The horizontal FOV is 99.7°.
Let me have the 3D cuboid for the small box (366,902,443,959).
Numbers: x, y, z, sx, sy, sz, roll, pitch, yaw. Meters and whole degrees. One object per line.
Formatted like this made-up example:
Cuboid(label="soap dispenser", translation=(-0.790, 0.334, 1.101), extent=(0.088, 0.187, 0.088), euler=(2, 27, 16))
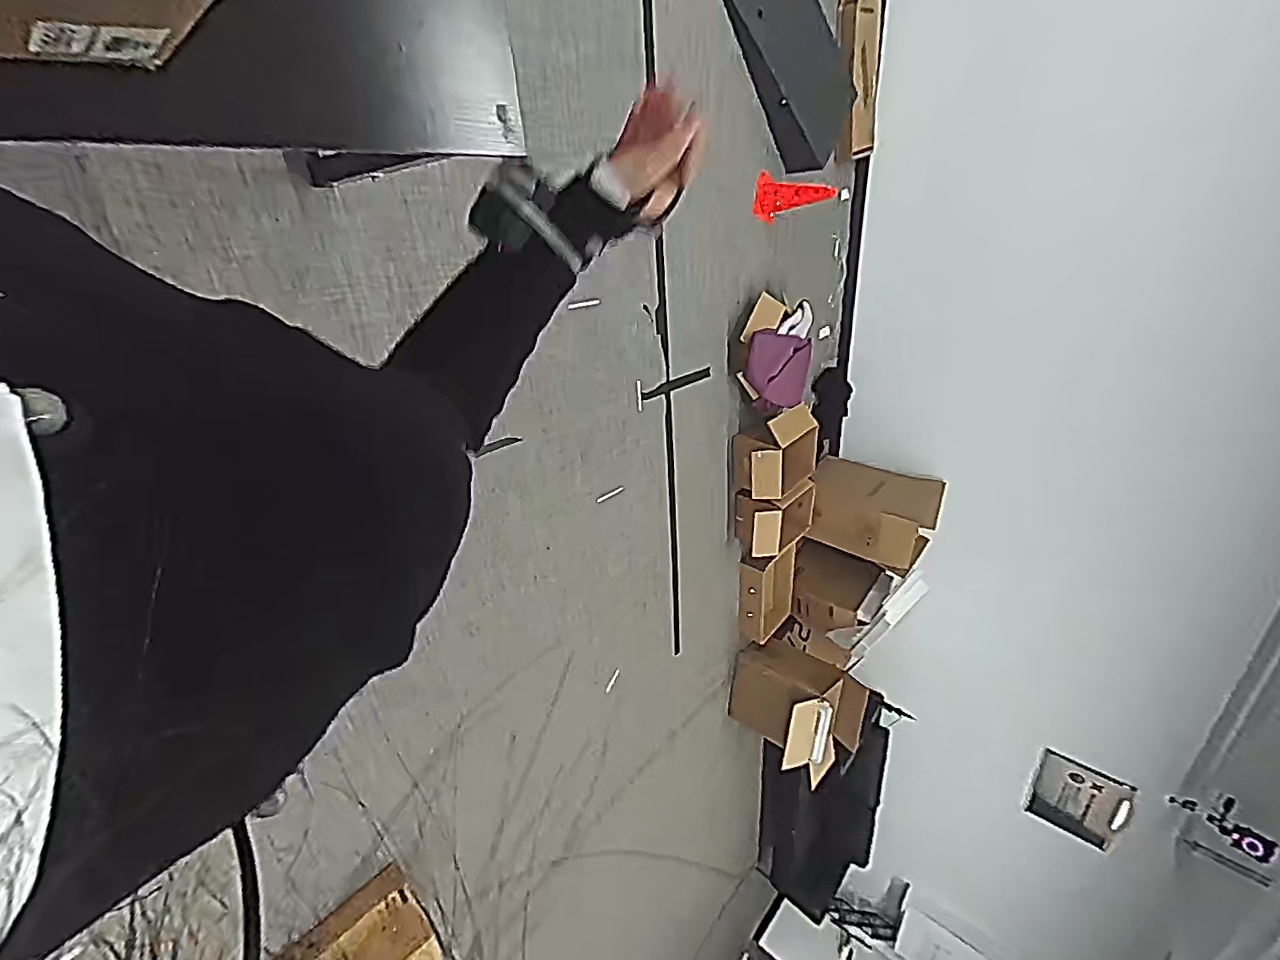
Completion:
Cuboid(label="small box", translation=(-0.799, 1.597, 1.835), extent=(0.168, 0.176, 0.179), euler=(-29, 126, -41))
